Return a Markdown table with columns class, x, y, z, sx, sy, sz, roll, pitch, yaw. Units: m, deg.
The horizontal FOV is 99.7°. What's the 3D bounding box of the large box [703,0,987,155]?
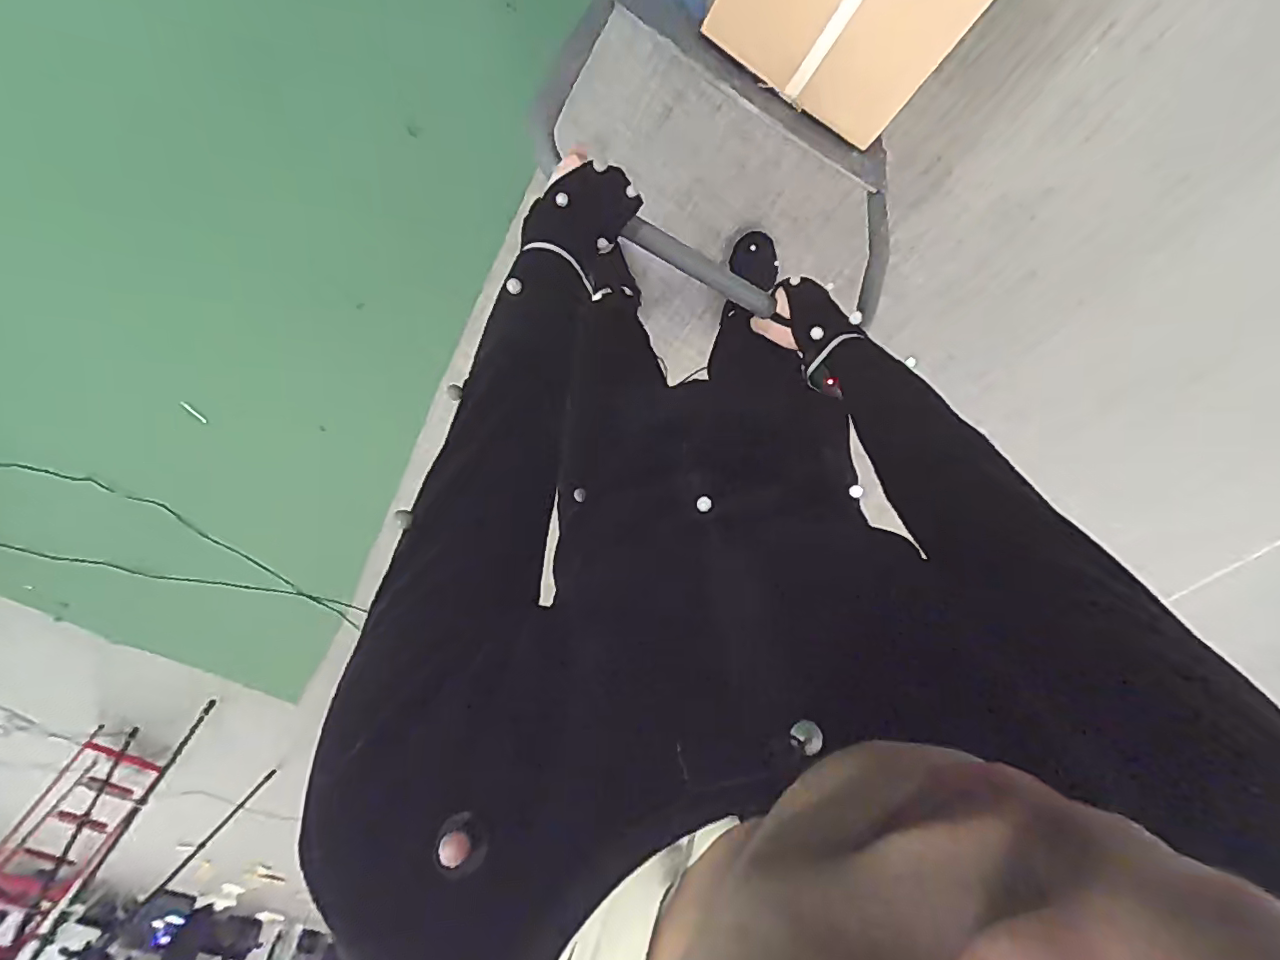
| class | x | y | z | sx | sy | sz | roll | pitch | yaw |
| --- | --- | --- | --- | --- | --- | --- | --- | --- | --- |
| large box | 0.336 | -0.794 | 0.775 | 0.320 | 0.320 | 0.408 | 24 | 143 | -17 |
